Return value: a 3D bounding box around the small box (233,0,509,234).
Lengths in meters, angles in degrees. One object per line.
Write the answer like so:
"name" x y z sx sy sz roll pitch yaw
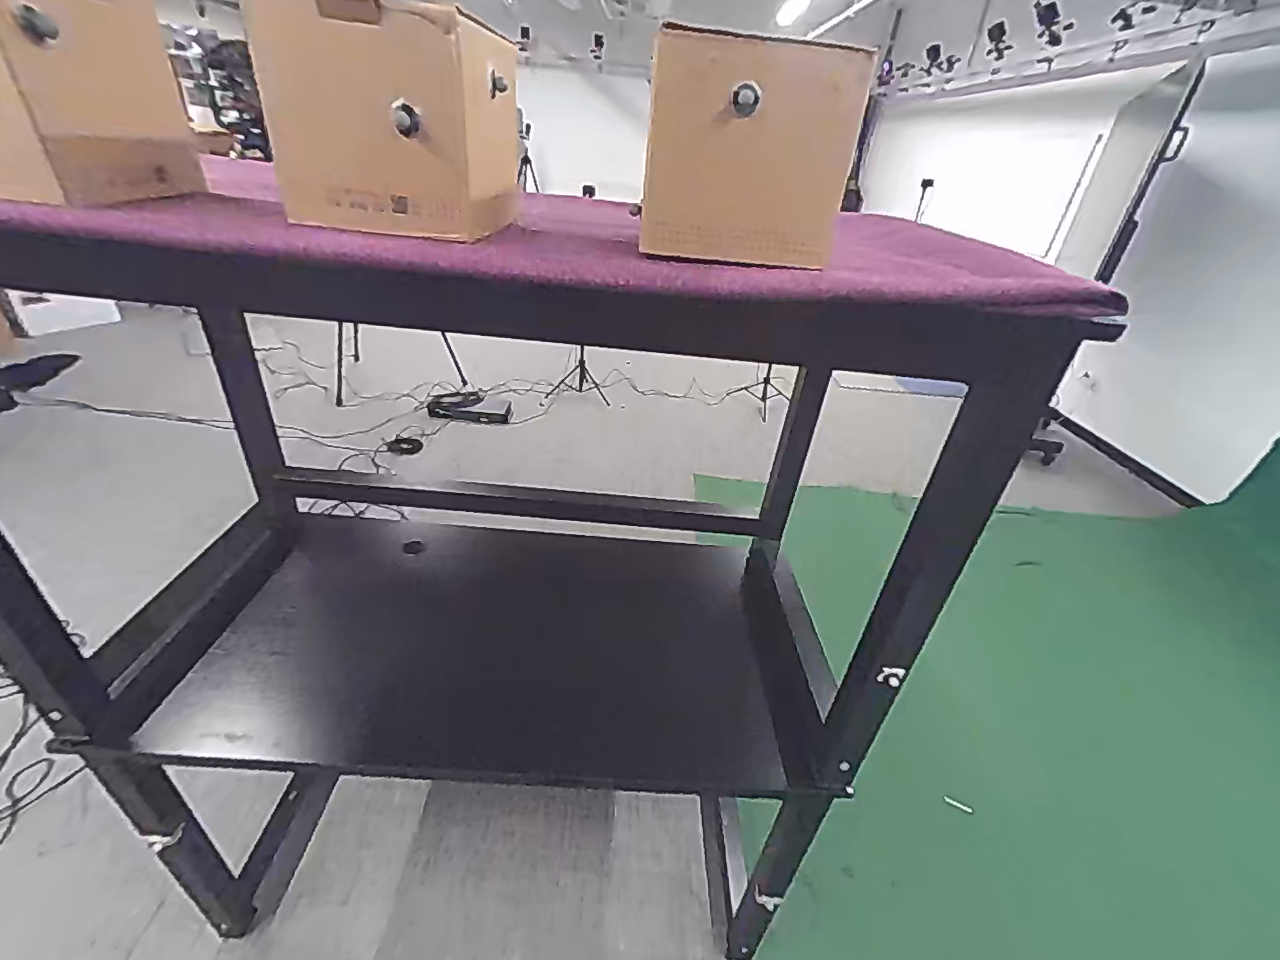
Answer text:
"small box" -0.220 -0.333 0.501 0.168 0.176 0.179 7 31 -2

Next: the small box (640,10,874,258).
"small box" 0.091 -0.315 0.522 0.179 0.176 0.168 4 29 -3
